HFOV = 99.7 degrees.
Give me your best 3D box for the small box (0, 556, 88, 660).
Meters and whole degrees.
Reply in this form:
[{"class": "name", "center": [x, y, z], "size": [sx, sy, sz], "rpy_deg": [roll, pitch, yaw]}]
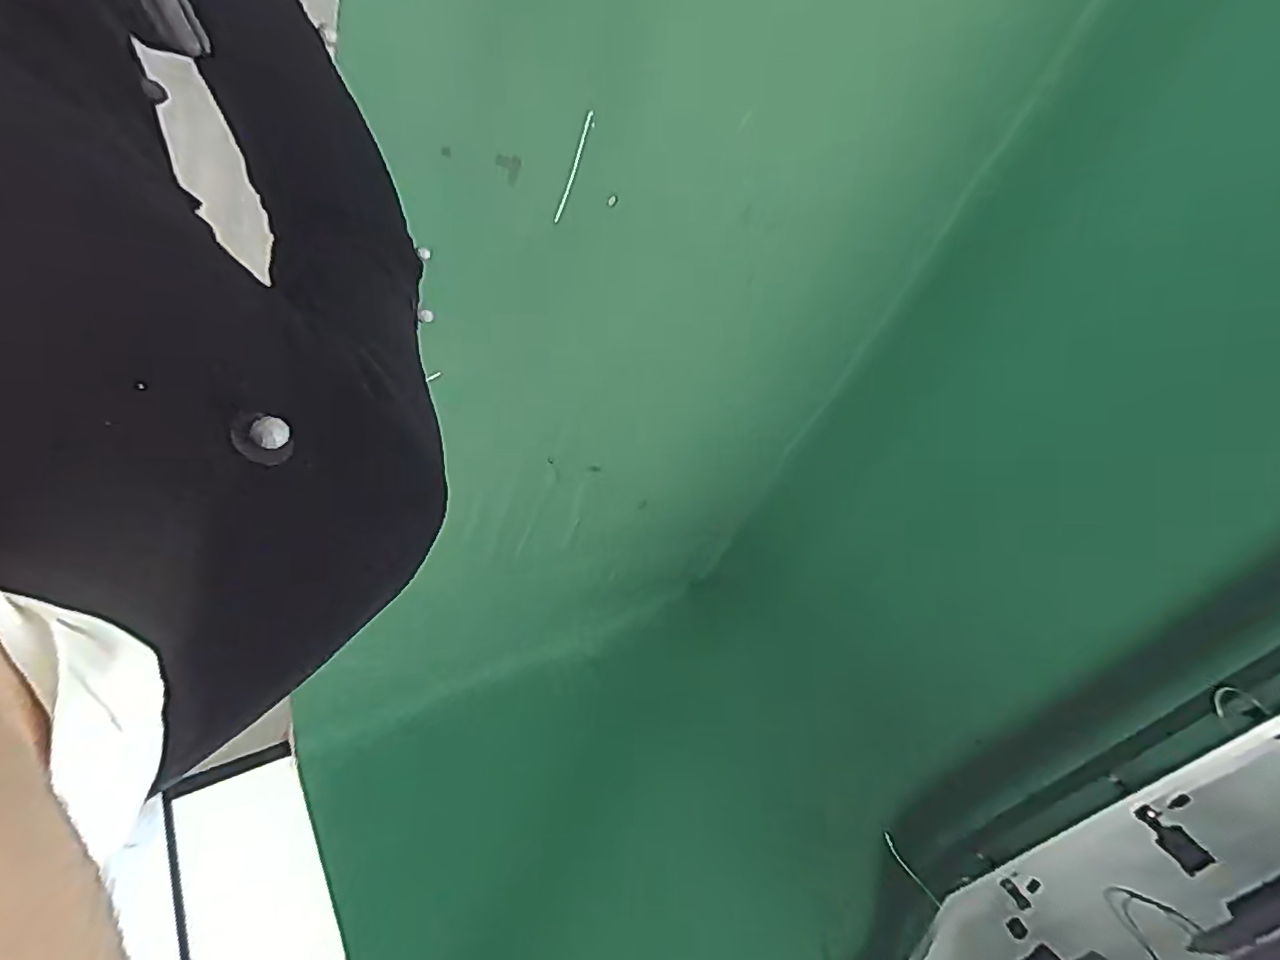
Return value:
[{"class": "small box", "center": [-1.453, 0.298, 1.293], "size": [0.179, 0.176, 0.168], "rpy_deg": [-3, 130, -46]}]
